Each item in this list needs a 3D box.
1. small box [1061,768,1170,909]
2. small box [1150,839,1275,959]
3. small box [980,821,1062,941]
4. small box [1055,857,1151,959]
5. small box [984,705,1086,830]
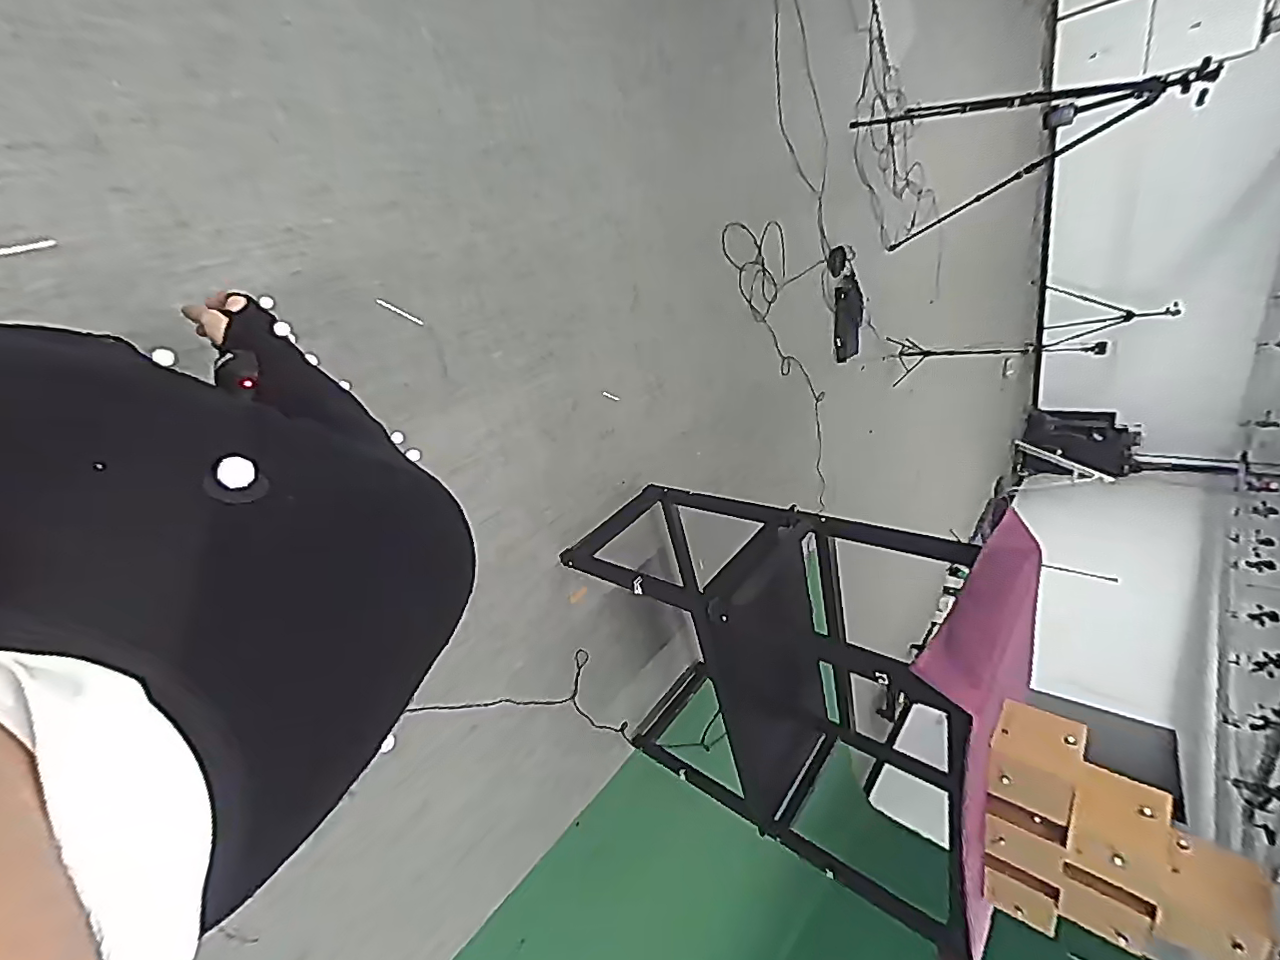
[{"bbox_3d":[1.098,0.820,1.254,0.179,0.176,0.168,-35,120,-38],"label":"small box"},{"bbox_3d":[1.246,0.938,1.189,0.168,0.176,0.179,-37,122,-37],"label":"small box"},{"bbox_3d":[1.077,1.123,1.528,0.179,0.176,0.168,-33,120,-40],"label":"small box"},{"bbox_3d":[1.159,1.026,1.354,0.168,0.176,0.179,-36,121,-38],"label":"small box"},{"bbox_3d":[0.951,0.686,1.311,0.168,0.176,0.179,-36,123,-37],"label":"small box"}]
